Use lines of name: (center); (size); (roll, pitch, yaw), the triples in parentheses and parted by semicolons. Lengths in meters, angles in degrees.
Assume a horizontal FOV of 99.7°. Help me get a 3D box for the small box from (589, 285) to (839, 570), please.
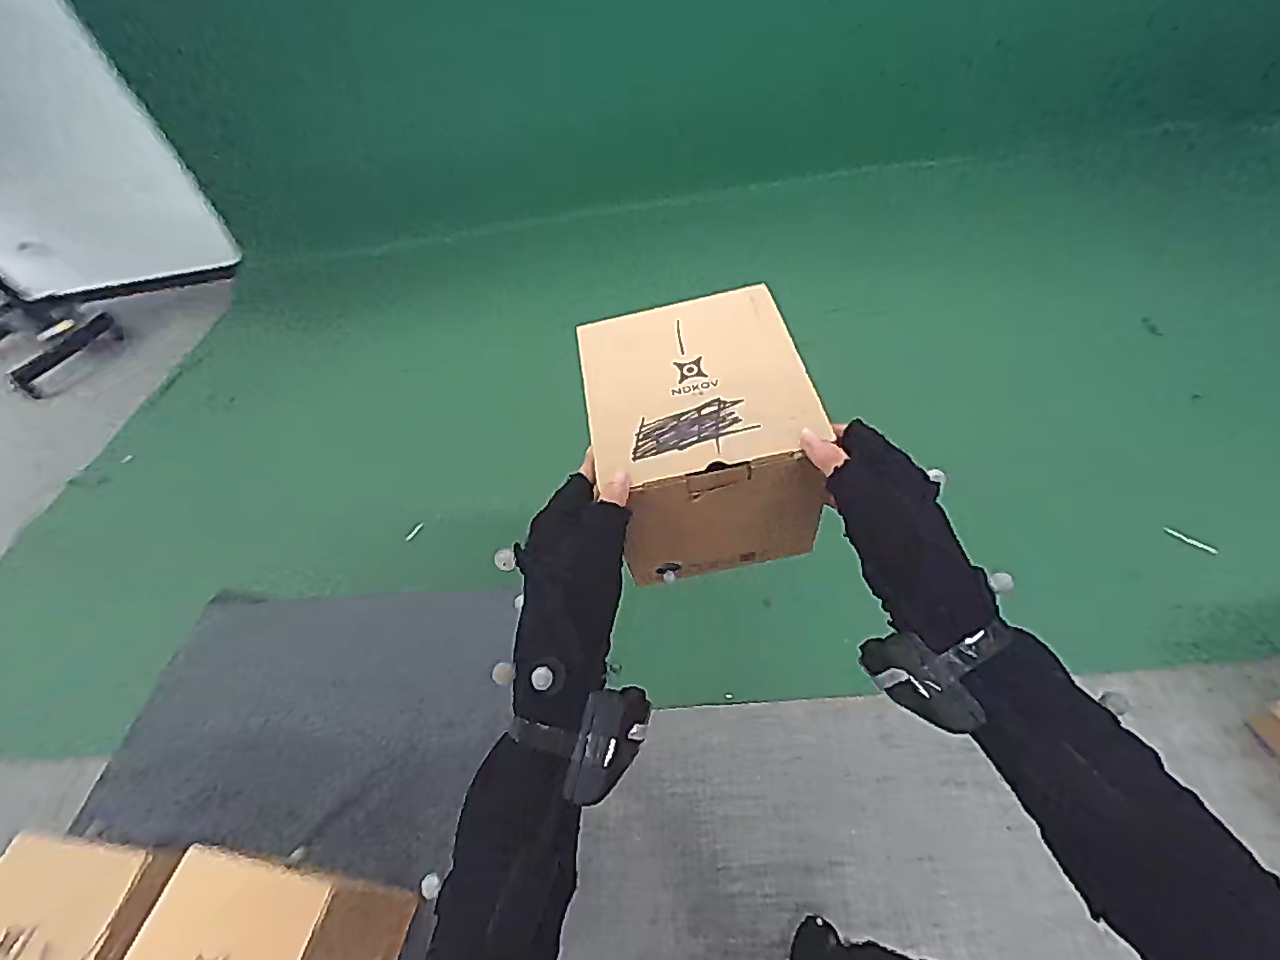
small box: (0.060, -0.034, 0.477); (0.168, 0.176, 0.179); (-12, 55, 4)
